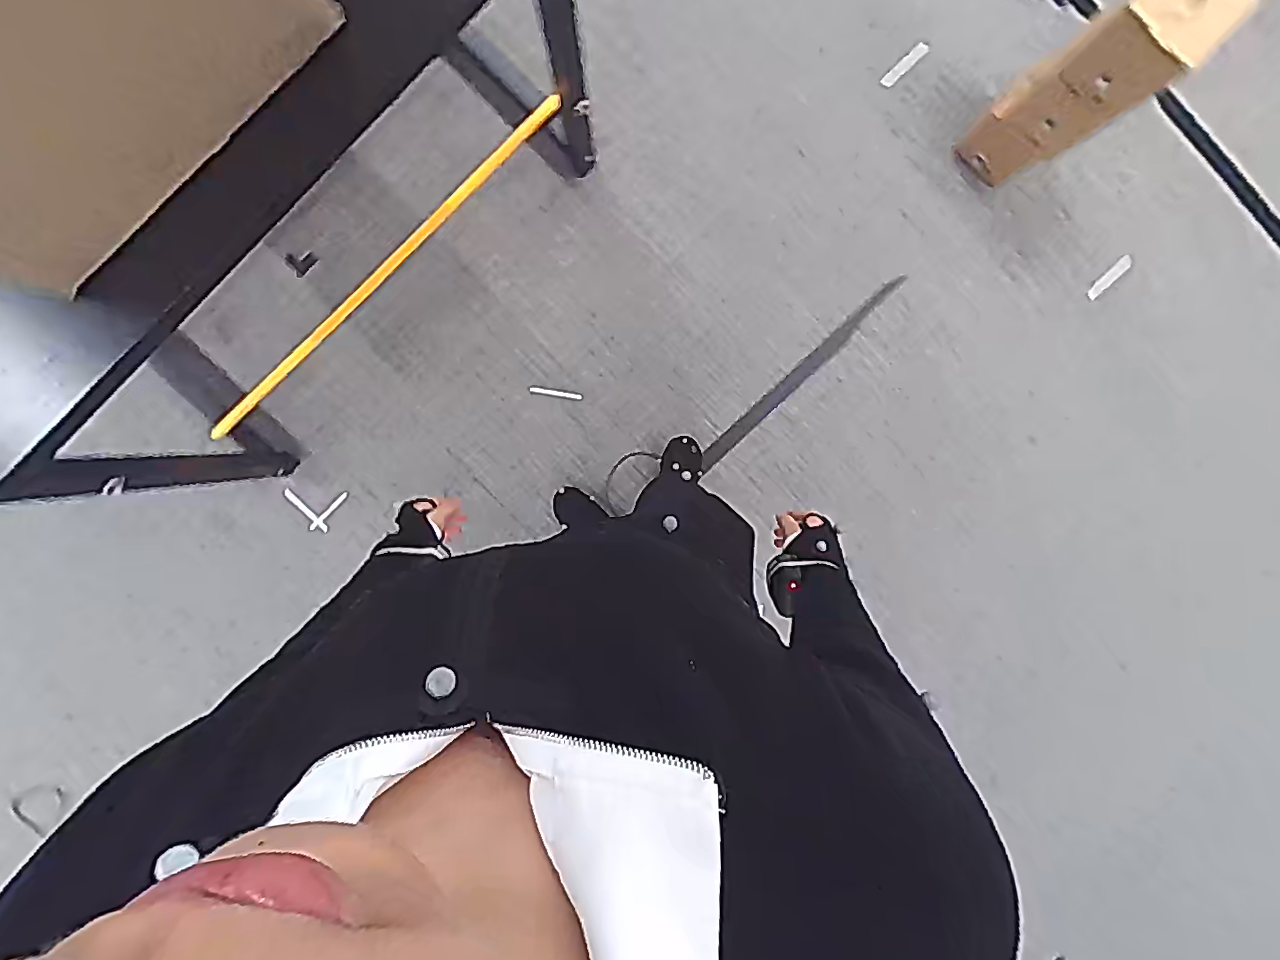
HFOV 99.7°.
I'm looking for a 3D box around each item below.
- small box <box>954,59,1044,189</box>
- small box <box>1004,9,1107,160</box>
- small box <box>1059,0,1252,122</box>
[{"bbox_3d":[0.949,-0.891,1.369,0.168,0.176,0.179,40,94,-3],"label":"small box"},{"bbox_3d":[0.964,-0.866,1.207,0.168,0.176,0.179,39,93,-3],"label":"small box"},{"bbox_3d":[0.976,-0.853,1.042,0.168,0.176,0.179,43,92,-2],"label":"small box"}]
